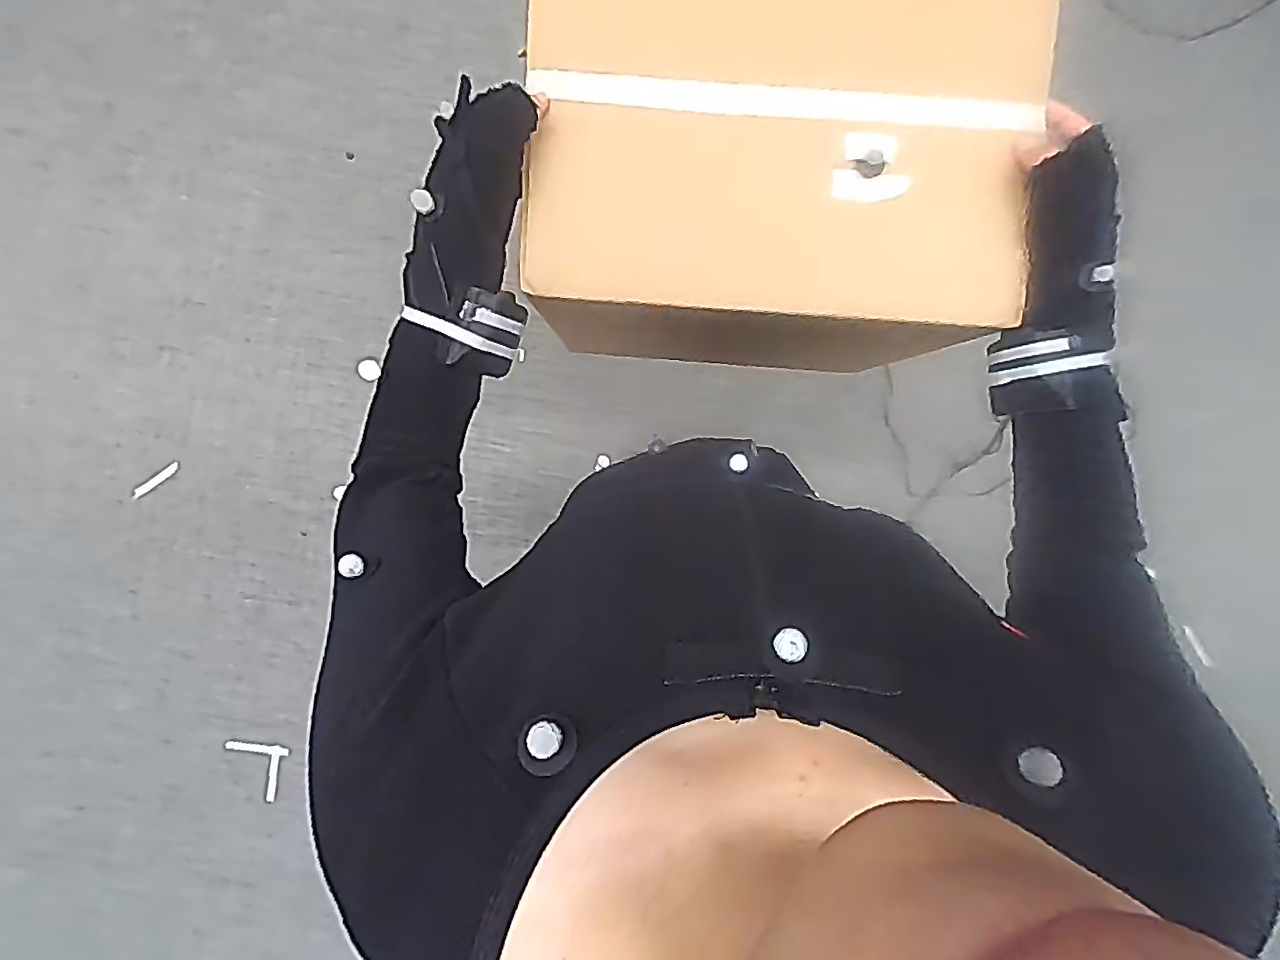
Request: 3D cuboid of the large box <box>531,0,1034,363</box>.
[{"bbox_3d":[0.109,-0.310,0.585,0.408,0.320,0.320,3,95,-1],"label":"large box"}]
